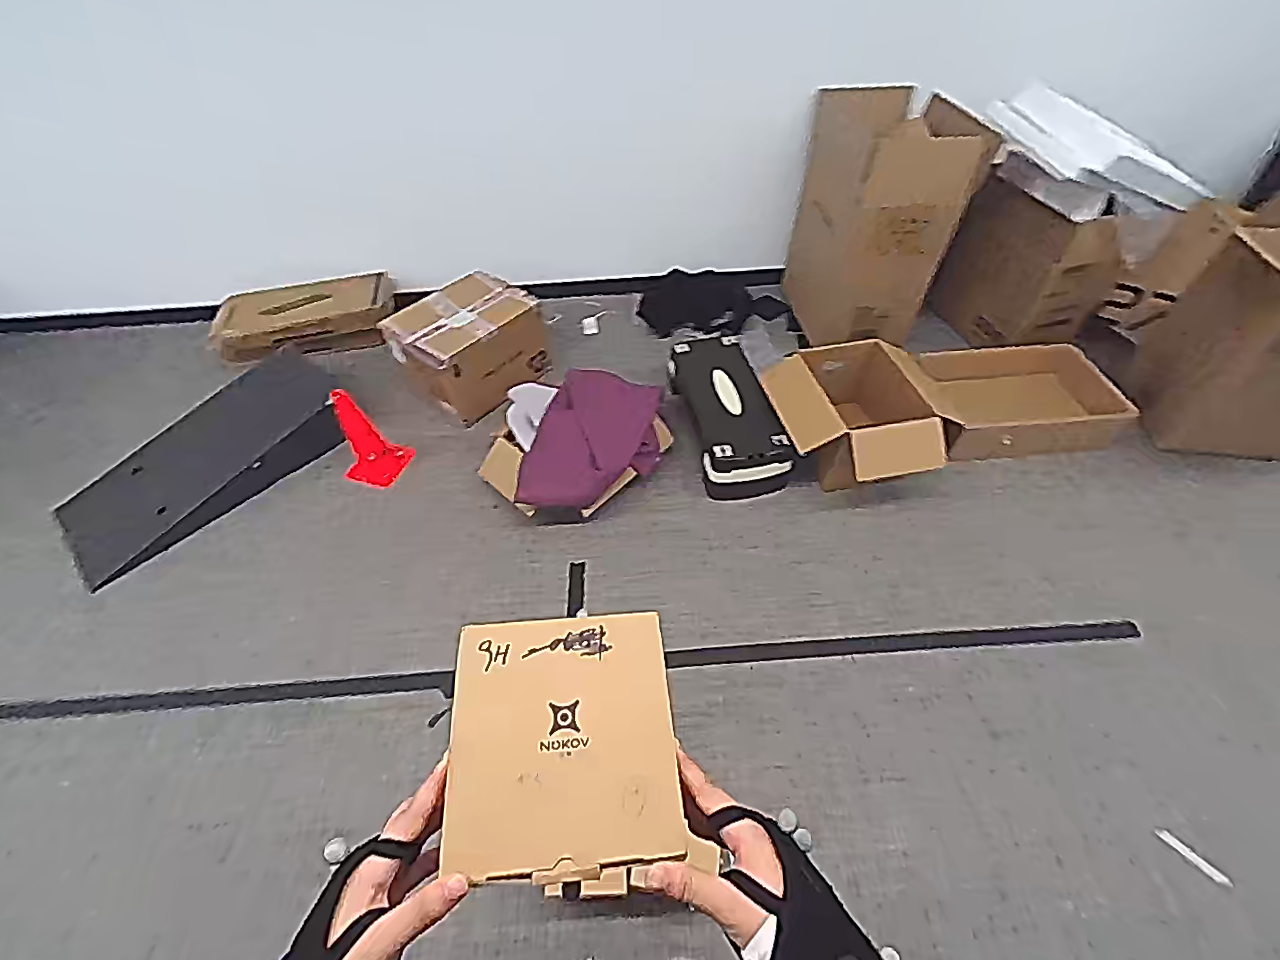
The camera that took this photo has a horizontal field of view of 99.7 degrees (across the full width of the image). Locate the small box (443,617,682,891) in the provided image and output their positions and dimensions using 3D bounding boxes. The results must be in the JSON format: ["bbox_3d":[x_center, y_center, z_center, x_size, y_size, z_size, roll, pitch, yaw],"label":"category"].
[{"bbox_3d":[-0.062,0.238,0.476,0.168,0.176,0.179,-4,56,-6],"label":"small box"}]
